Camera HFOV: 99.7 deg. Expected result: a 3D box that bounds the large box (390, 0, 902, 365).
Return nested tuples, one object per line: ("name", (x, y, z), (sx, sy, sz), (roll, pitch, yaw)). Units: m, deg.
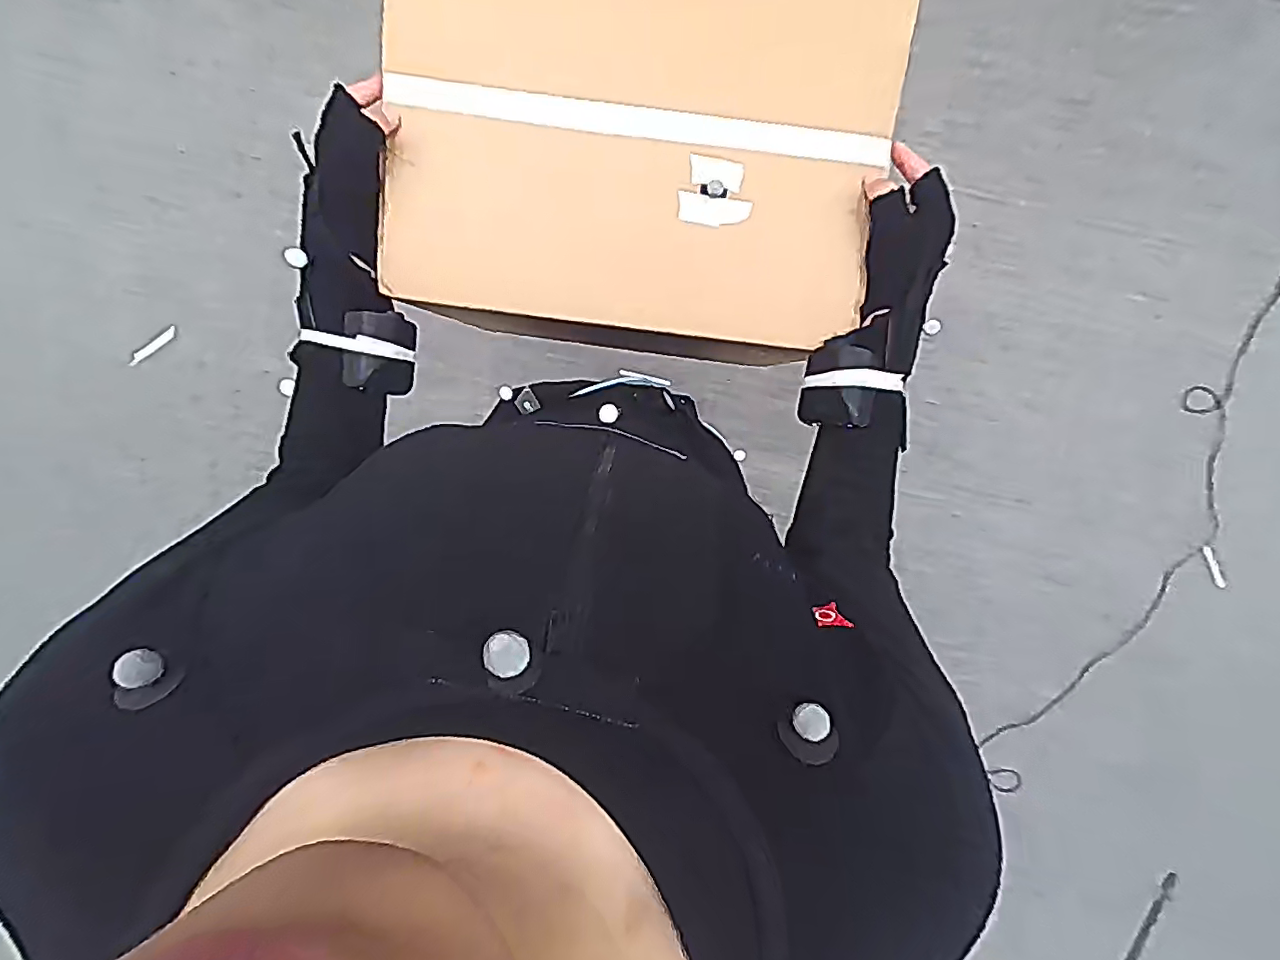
("large box", (-0.006, -0.305, 0.589), (0.408, 0.320, 0.320), (7, 101, -2))
